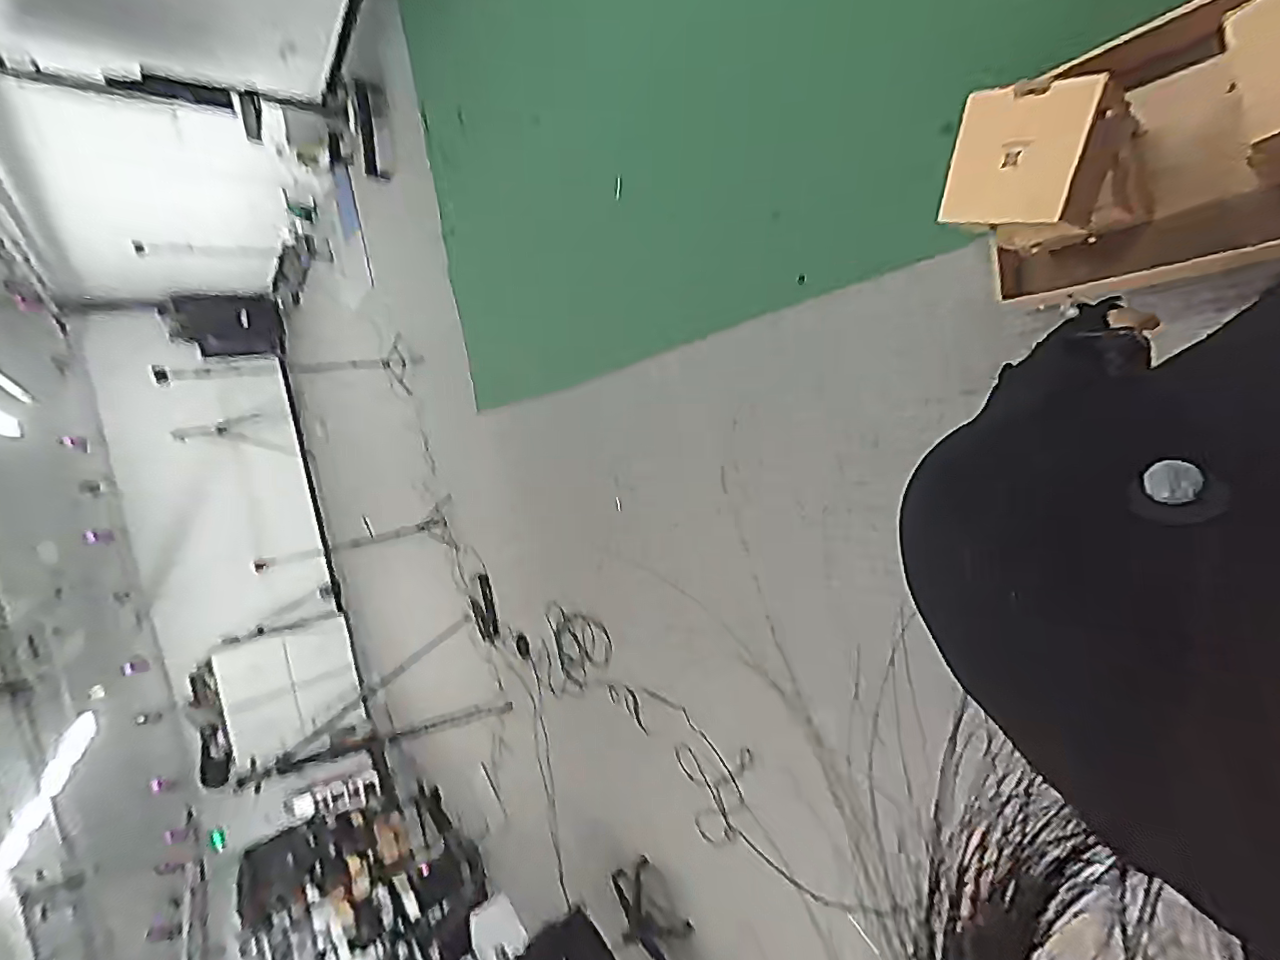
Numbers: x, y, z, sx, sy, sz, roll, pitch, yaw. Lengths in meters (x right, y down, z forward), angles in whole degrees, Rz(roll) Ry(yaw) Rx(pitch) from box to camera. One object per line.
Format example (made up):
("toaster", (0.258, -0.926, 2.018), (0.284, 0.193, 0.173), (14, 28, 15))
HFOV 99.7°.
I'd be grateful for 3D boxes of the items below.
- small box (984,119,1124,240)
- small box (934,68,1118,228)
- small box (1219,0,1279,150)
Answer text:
("small box", (0.700, -0.524, 0.923), (0.168, 0.176, 0.179), (-4, 98, 49))
("small box", (0.582, -0.485, 0.818), (0.168, 0.176, 0.179), (26, 120, 42))
("small box", (0.885, -0.563, 0.696), (0.168, 0.176, 0.179), (-11, 95, 53))
